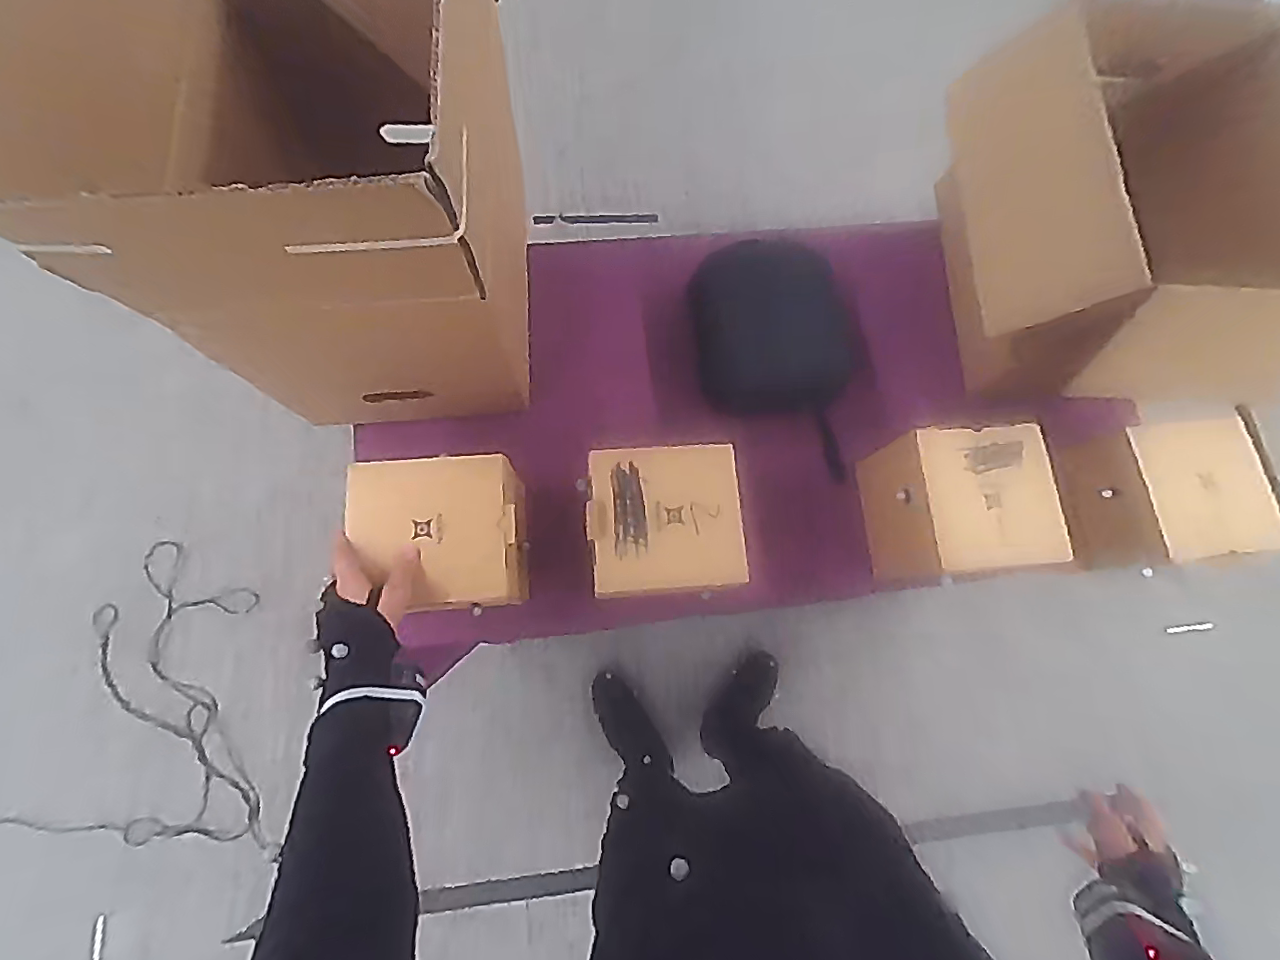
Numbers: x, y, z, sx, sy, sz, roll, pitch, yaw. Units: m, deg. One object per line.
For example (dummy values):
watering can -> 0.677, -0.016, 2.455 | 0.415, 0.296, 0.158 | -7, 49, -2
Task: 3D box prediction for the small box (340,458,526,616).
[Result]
small box -> -0.244, 0.079, 0.675 | 0.179, 0.176, 0.168 | -4, 76, -6
